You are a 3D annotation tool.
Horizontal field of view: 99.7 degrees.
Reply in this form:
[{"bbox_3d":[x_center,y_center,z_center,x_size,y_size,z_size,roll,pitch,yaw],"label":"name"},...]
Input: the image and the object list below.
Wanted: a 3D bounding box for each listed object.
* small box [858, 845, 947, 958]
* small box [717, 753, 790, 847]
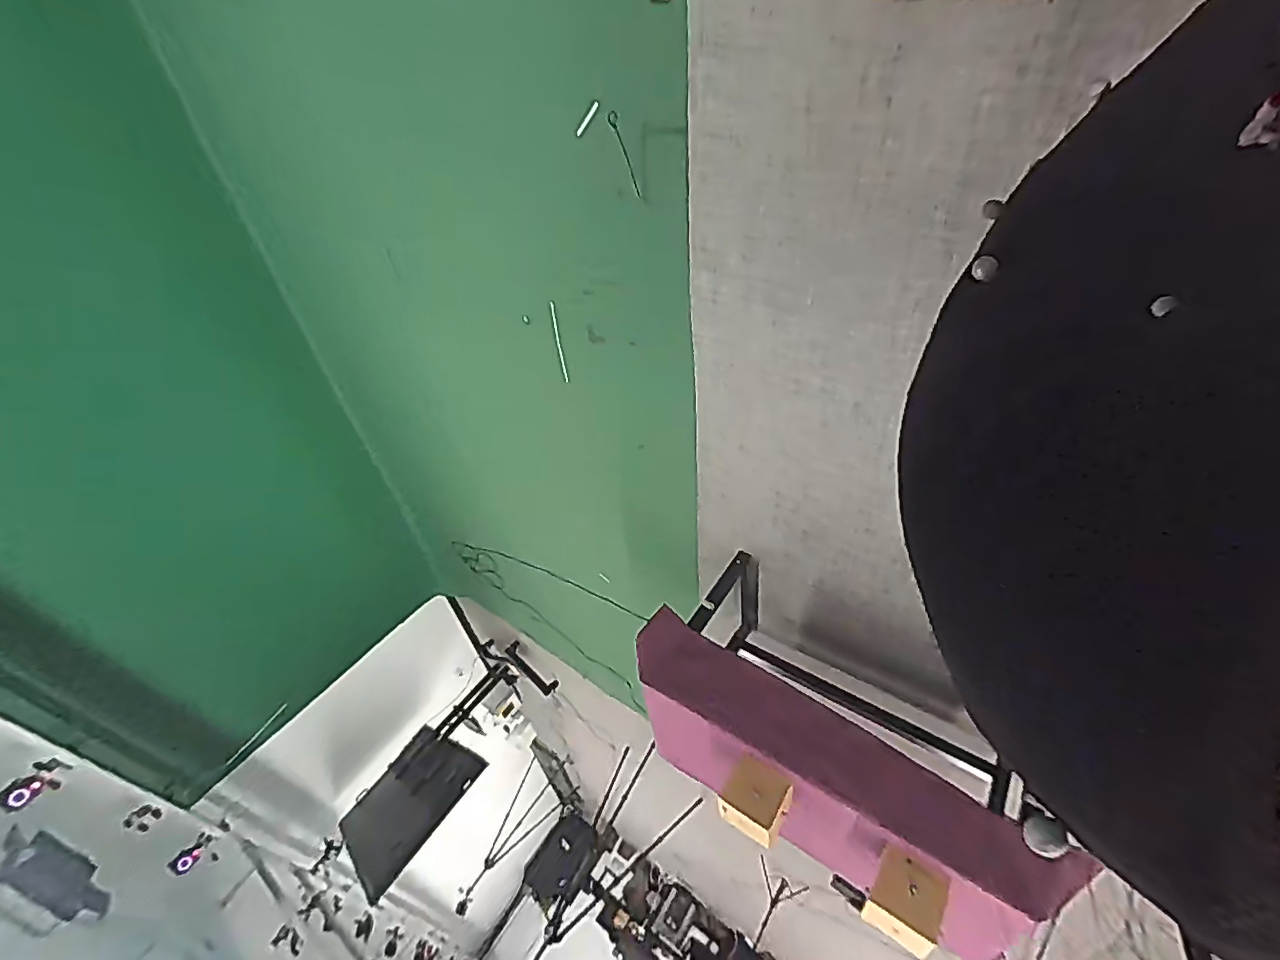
[{"bbox_3d":[0.720,1.146,1.479,0.168,0.176,0.179,21,139,32],"label":"small box"},{"bbox_3d":[0.361,1.003,1.705,0.179,0.176,0.168,19,137,31],"label":"small box"}]
